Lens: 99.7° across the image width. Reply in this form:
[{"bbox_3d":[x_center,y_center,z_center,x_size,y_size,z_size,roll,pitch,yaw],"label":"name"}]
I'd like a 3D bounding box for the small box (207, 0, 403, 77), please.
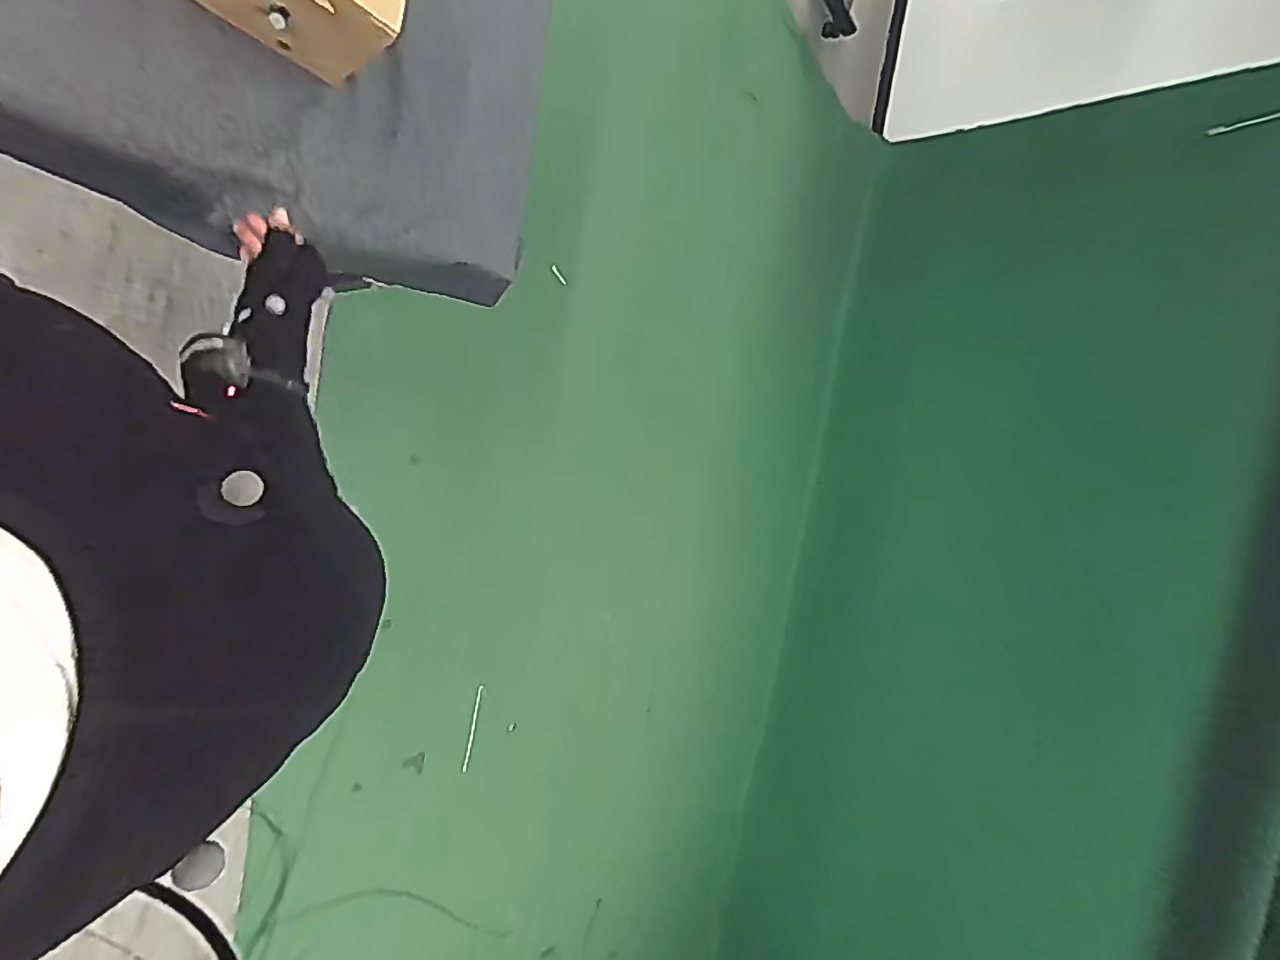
[{"bbox_3d":[-0.347,-0.556,0.541,0.168,0.176,0.179,8,94,-51],"label":"small box"}]
